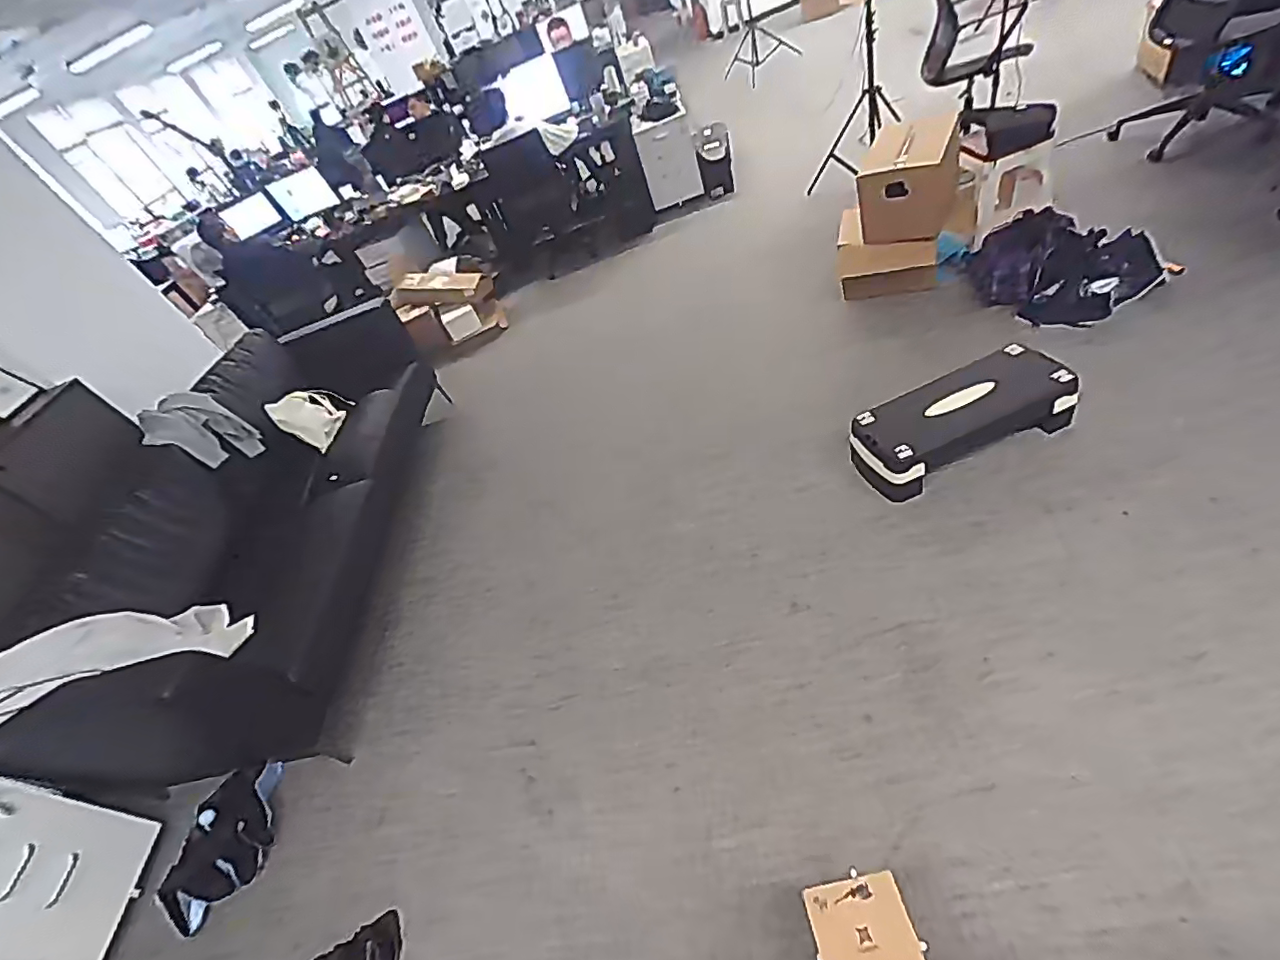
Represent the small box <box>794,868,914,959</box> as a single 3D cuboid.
[{"bbox_3d":[0.396,0.834,0.979,0.168,0.176,0.179,-19,44,8],"label":"small box"}]
